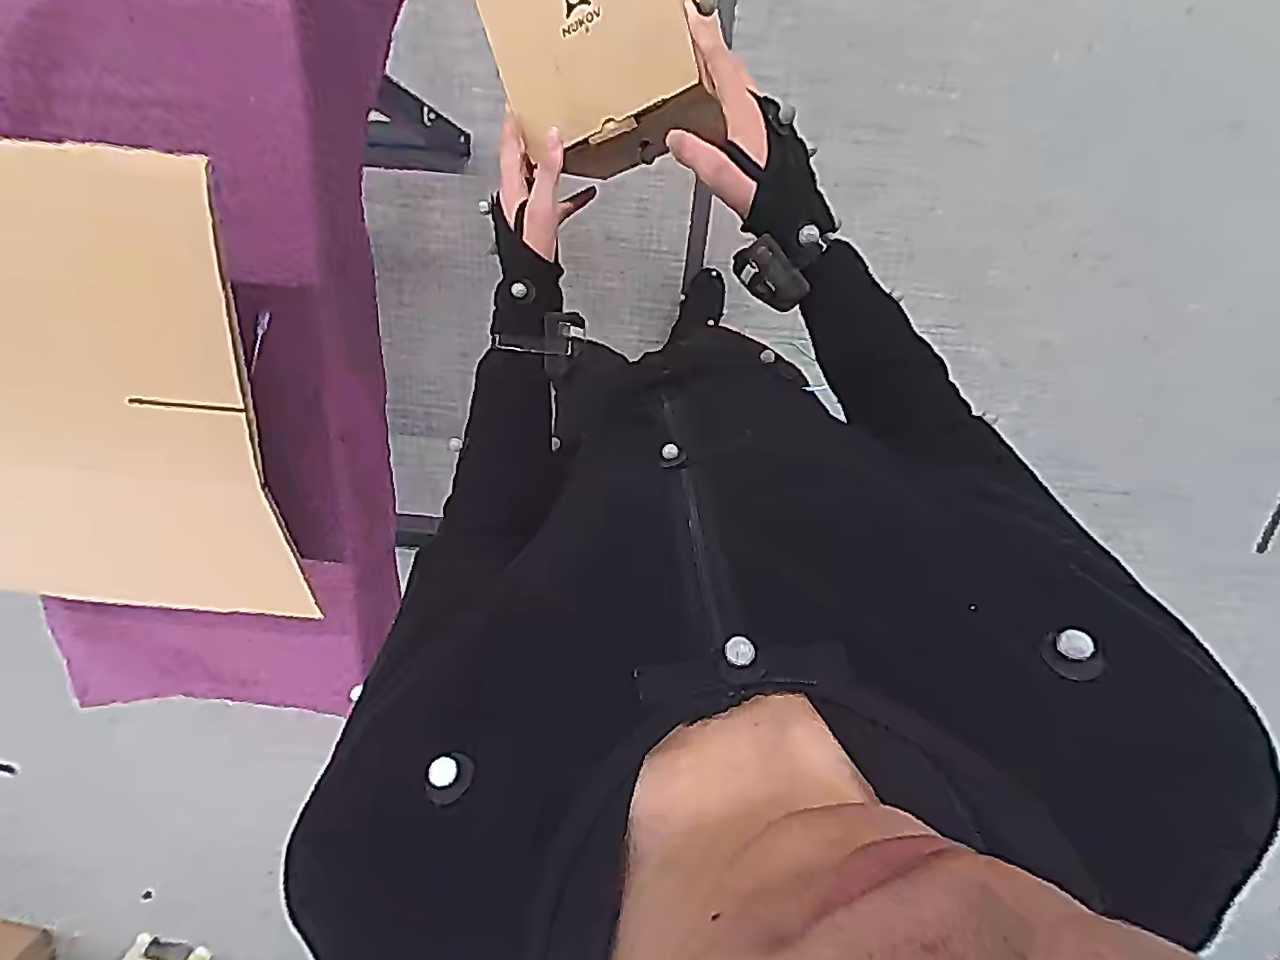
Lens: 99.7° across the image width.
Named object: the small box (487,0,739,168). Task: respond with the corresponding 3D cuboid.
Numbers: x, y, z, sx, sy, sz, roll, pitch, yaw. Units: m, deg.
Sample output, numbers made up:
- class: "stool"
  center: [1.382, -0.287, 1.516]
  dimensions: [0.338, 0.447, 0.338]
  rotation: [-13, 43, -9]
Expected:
- class: "small box"
  center: [-0.016, -0.409, 0.499]
  dimensions: [0.168, 0.176, 0.179]
  rotation: [-9, 111, 24]
